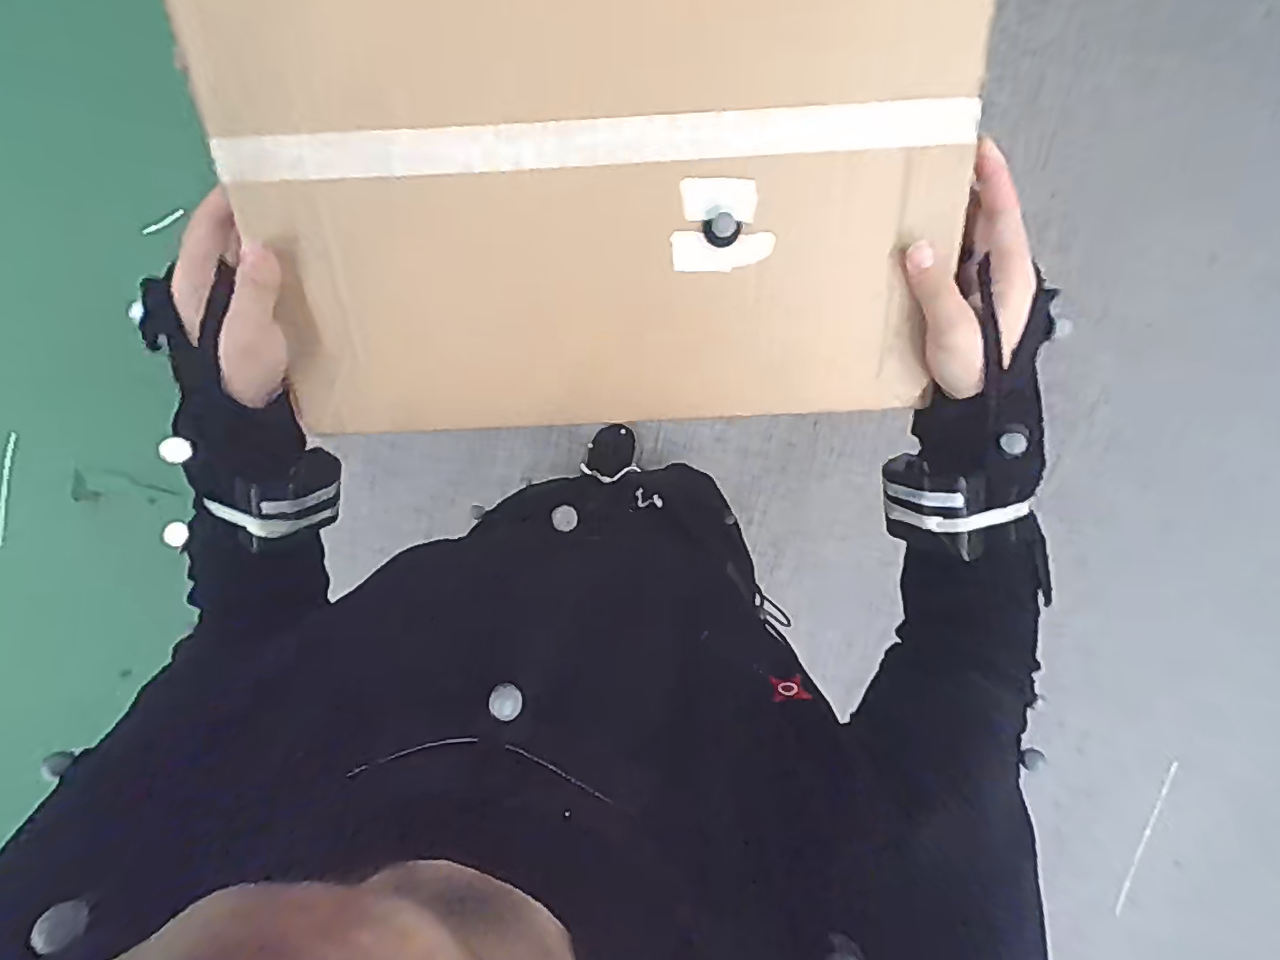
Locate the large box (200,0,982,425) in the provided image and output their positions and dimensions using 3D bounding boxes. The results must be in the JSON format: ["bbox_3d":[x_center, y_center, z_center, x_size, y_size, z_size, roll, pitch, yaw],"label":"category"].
[{"bbox_3d":[-0.025,-0.250,0.435,0.408,0.320,0.320,-4,114,-1],"label":"large box"}]
